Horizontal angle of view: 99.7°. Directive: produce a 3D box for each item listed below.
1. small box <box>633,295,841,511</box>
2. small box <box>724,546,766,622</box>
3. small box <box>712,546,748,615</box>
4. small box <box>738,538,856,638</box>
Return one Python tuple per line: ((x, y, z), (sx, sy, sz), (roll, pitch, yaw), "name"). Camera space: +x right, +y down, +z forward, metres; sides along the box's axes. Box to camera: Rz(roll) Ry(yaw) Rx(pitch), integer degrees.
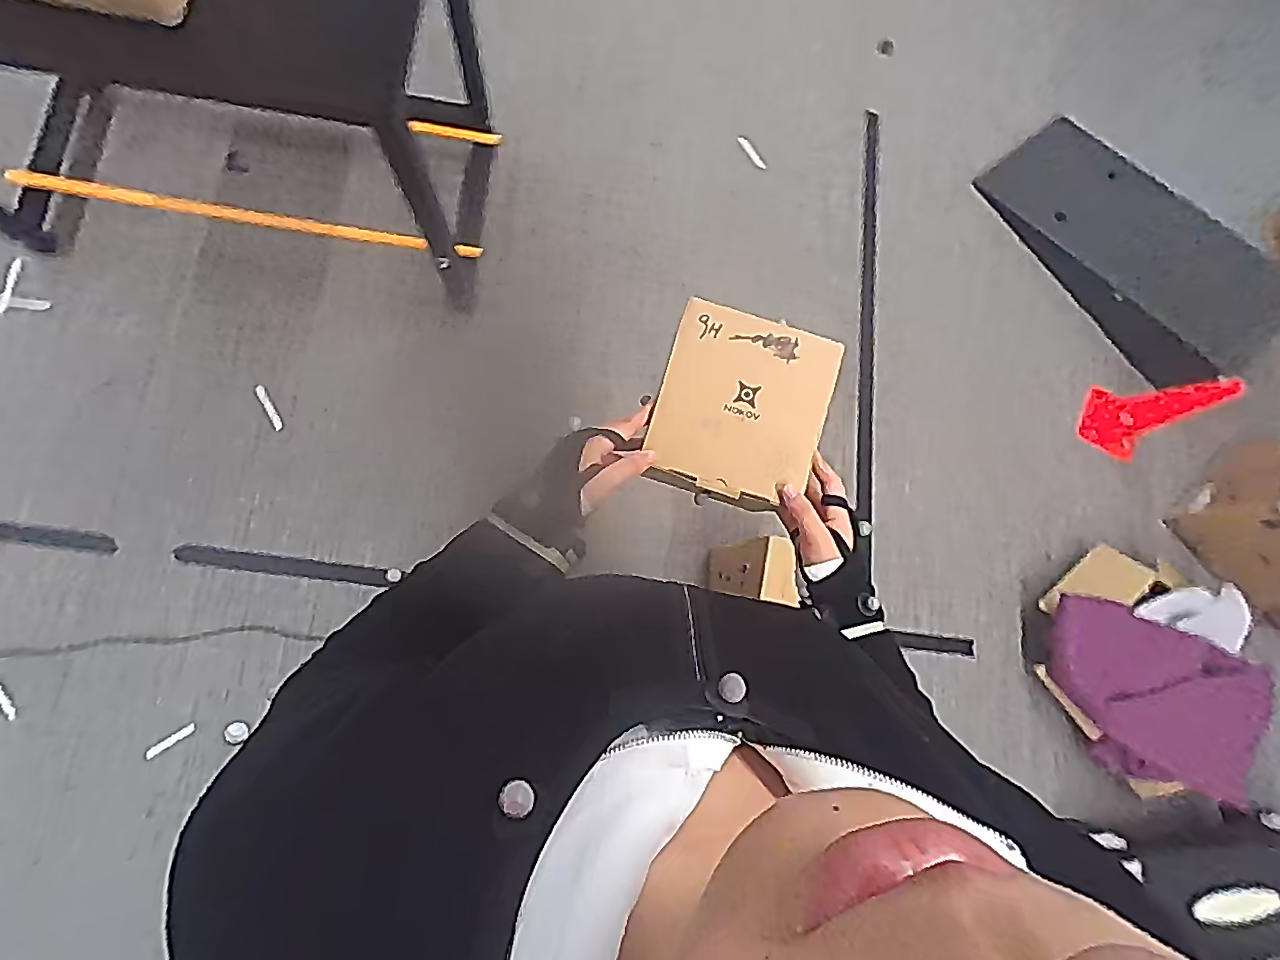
((0.094, -0.072, 0.599), (0.168, 0.176, 0.179), (16, 87, -1), "small box")
((0.312, 0.252, 1.292), (0.179, 0.176, 0.168), (7, 79, -5), "small box")
((0.294, 0.274, 1.454), (0.168, 0.176, 0.179), (4, 80, -5), "small box")
((0.322, 0.223, 1.132), (0.179, 0.176, 0.168), (12, 78, -3), "small box")
